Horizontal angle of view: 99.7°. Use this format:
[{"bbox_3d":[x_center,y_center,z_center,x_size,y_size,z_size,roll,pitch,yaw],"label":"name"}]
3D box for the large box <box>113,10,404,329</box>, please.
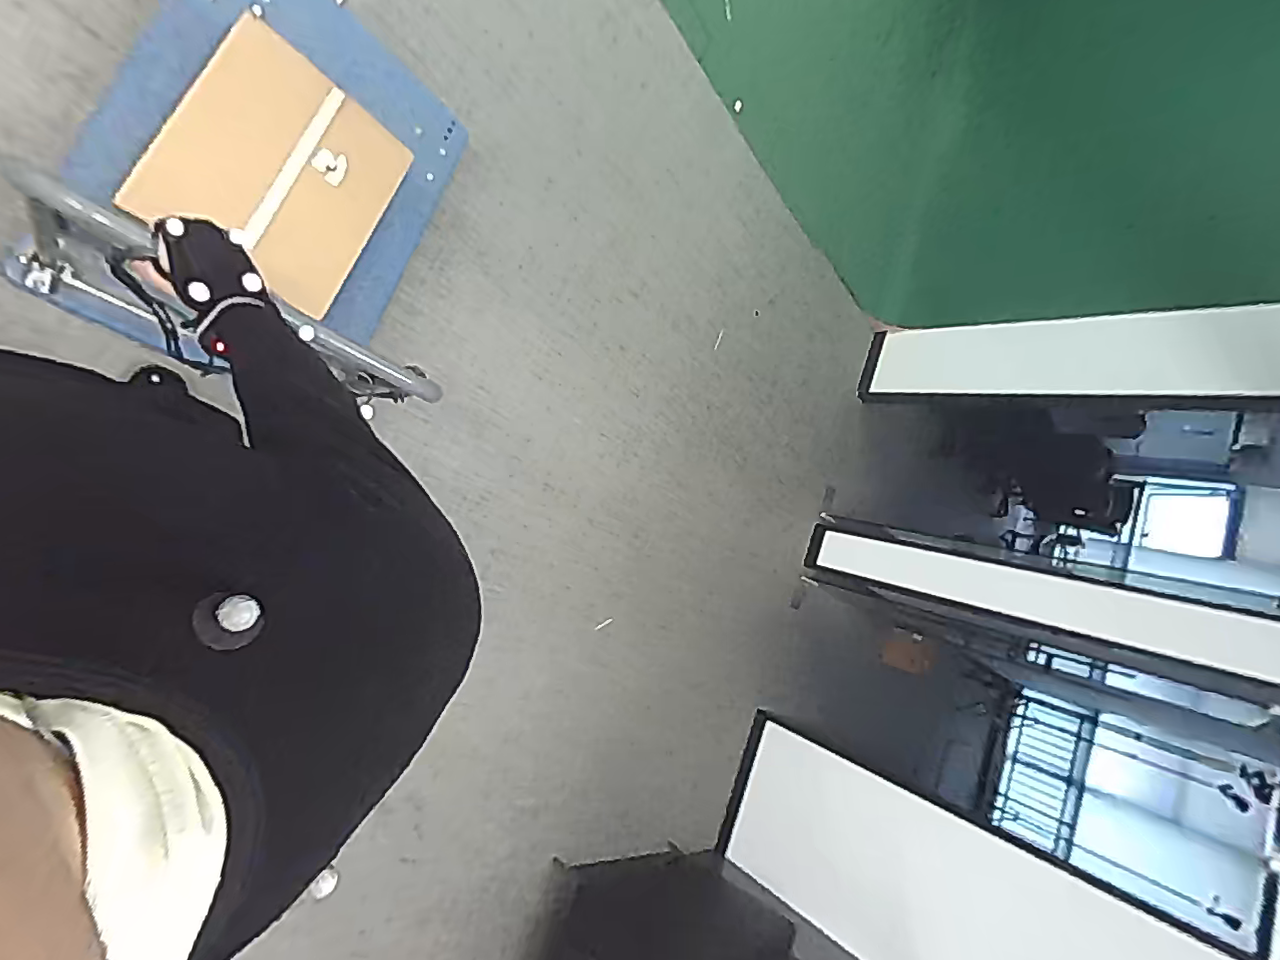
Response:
[{"bbox_3d":[-0.746,-0.563,1.070,0.320,0.320,0.408,33,74,-43],"label":"large box"}]
